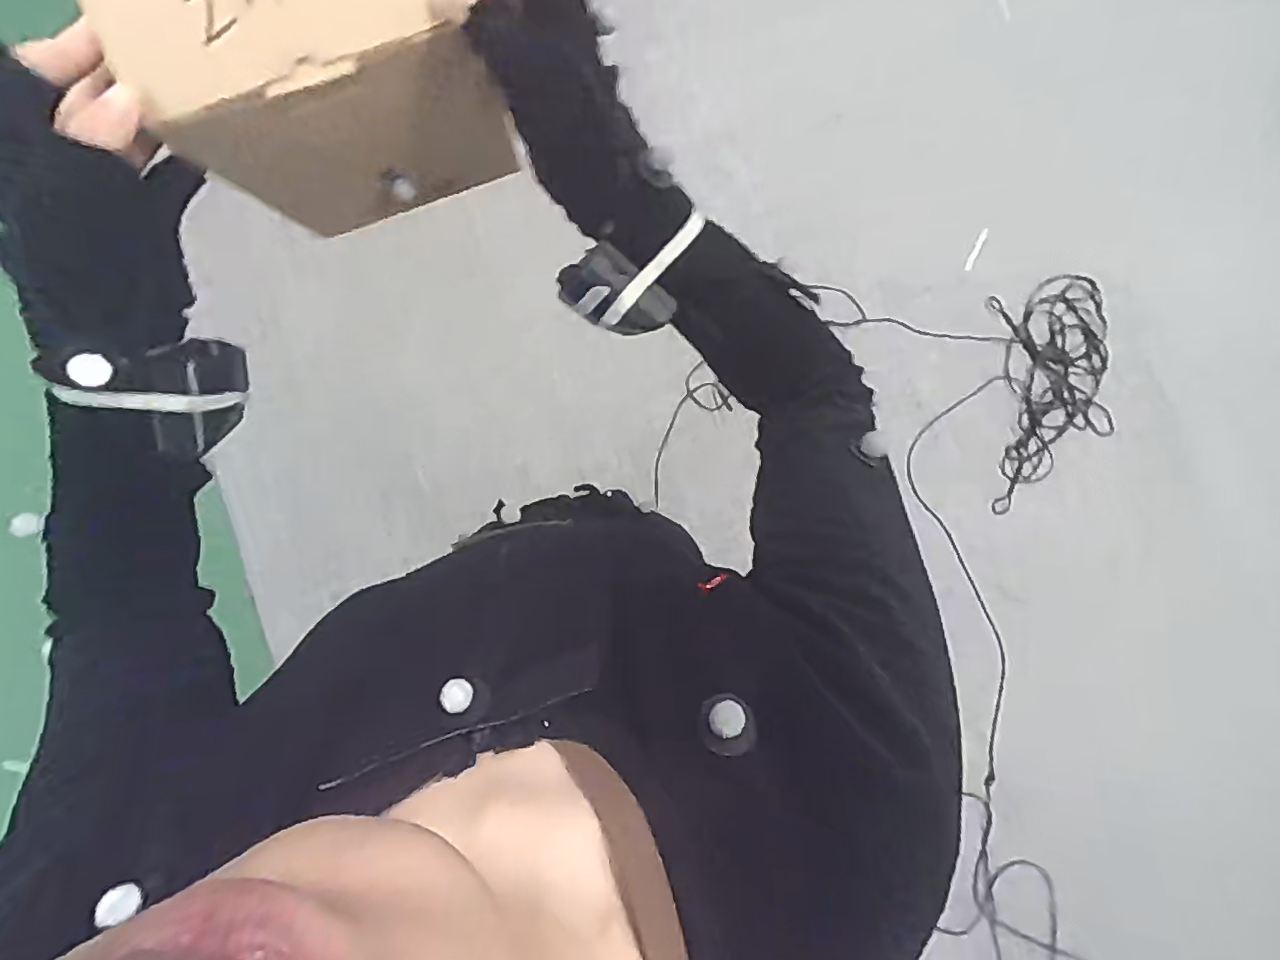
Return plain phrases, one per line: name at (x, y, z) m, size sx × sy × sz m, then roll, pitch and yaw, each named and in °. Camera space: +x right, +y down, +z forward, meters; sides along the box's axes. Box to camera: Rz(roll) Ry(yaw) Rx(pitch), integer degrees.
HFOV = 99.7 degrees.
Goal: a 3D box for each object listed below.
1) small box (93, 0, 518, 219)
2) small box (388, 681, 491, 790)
small box at (-0.187, -0.291, 0.319) m, size 0.168 × 0.176 × 0.179 m, roll -20°, pitch 97°, yaw -1°
small box at (-0.496, 0.628, 1.362) m, size 0.168 × 0.176 × 0.179 m, roll -22°, pitch 89°, yaw -2°
